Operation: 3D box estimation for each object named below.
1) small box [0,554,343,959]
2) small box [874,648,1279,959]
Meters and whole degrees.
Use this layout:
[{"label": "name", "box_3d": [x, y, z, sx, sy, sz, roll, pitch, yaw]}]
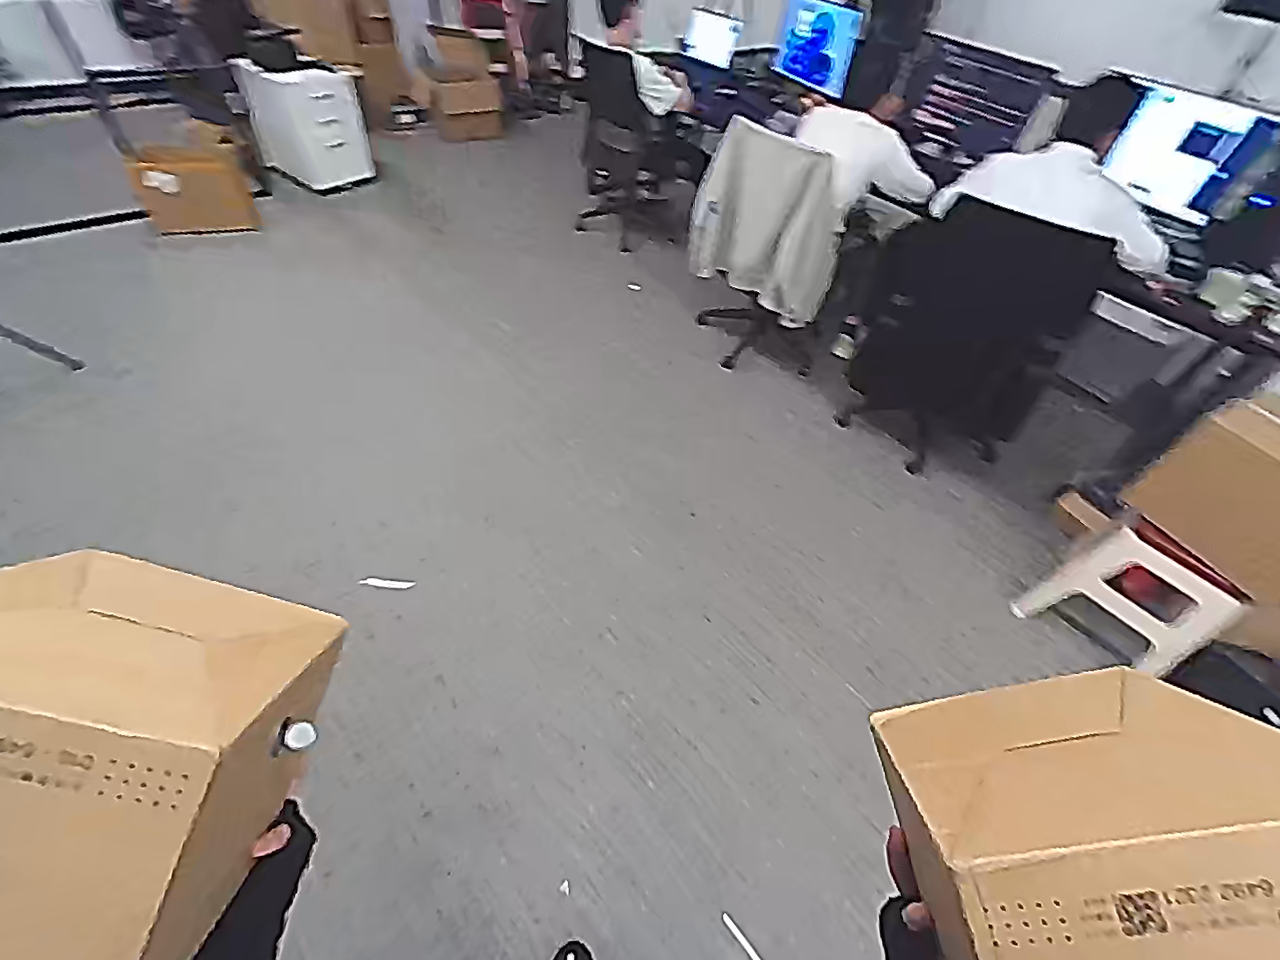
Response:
[{"label": "small box", "box_3d": [-0.284, 0.146, 0.272, 0.168, 0.179, 0.176, 21, 87, -12]}, {"label": "small box", "box_3d": [0.235, 0.199, 0.271, 0.168, 0.179, 0.176, -15, 83, 11]}]
